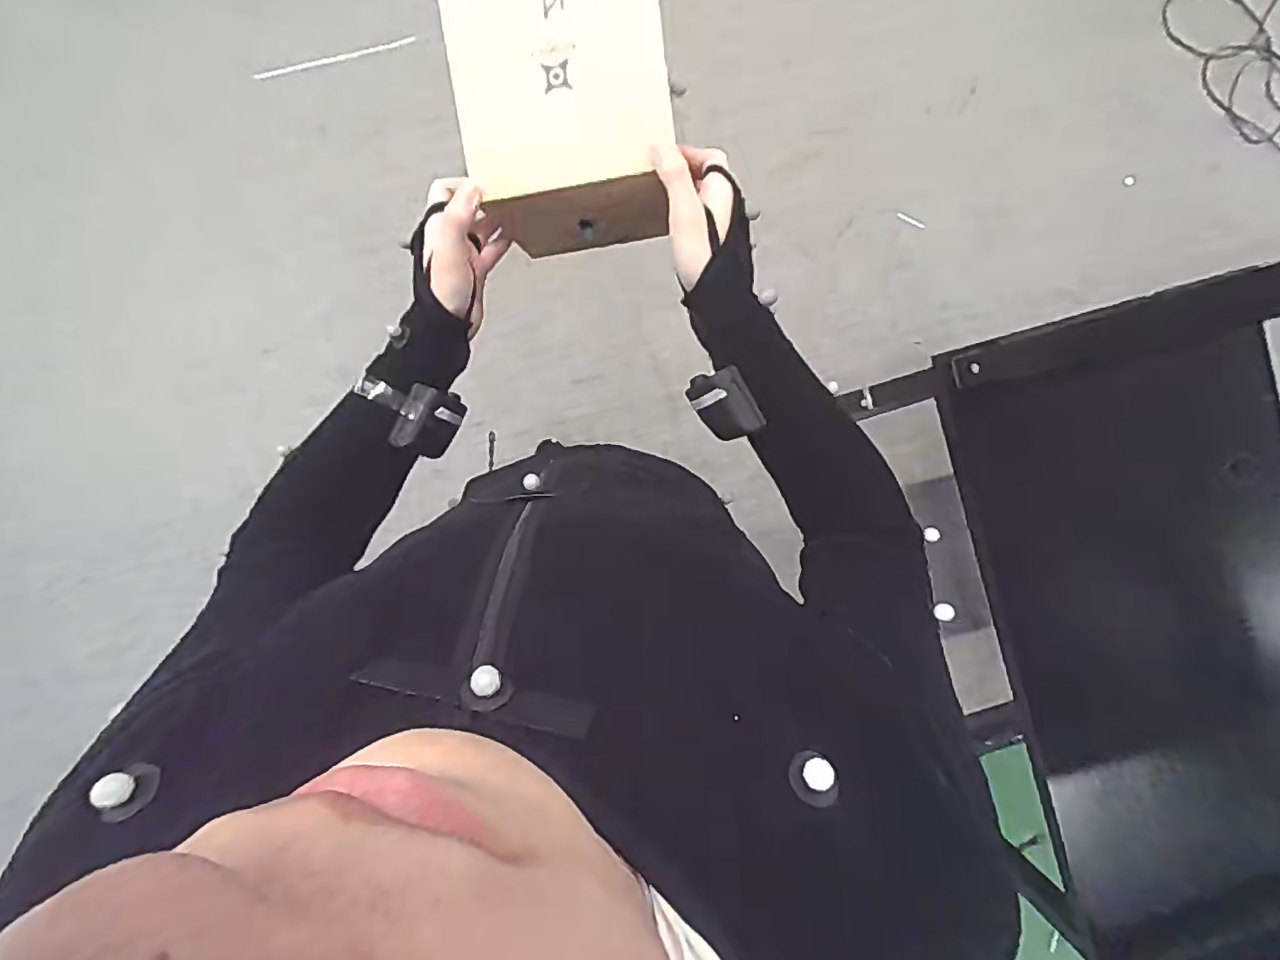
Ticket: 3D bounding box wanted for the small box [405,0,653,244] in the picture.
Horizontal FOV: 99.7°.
[{"bbox_3d":[-0.079,-0.319,0.471,0.168,0.176,0.179,-6,98,4],"label":"small box"}]
